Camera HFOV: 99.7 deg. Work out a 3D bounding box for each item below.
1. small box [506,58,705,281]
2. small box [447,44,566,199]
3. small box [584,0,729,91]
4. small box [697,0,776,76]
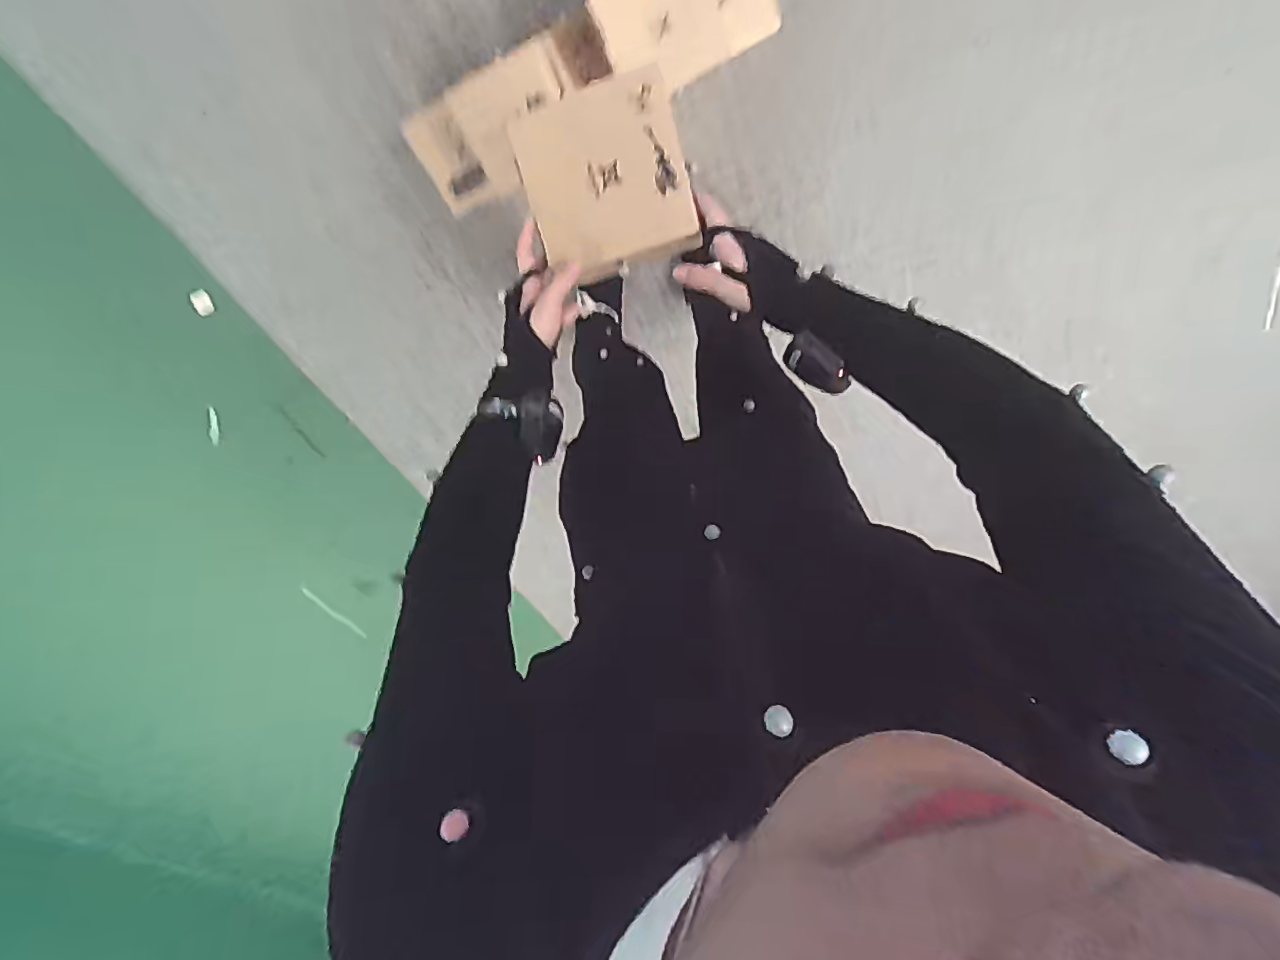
[{"bbox_3d":[-0.027,-0.346,0.646,0.179,0.176,0.168,-14,105,12],"label":"small box"},{"bbox_3d":[-0.206,-0.629,0.949,0.179,0.176,0.168,-21,126,11],"label":"small box"},{"bbox_3d":[0.022,-0.740,0.891,0.179,0.176,0.168,-26,126,11],"label":"small box"},{"bbox_3d":[0.132,-0.887,0.998,0.168,0.176,0.179,-23,125,12],"label":"small box"}]
